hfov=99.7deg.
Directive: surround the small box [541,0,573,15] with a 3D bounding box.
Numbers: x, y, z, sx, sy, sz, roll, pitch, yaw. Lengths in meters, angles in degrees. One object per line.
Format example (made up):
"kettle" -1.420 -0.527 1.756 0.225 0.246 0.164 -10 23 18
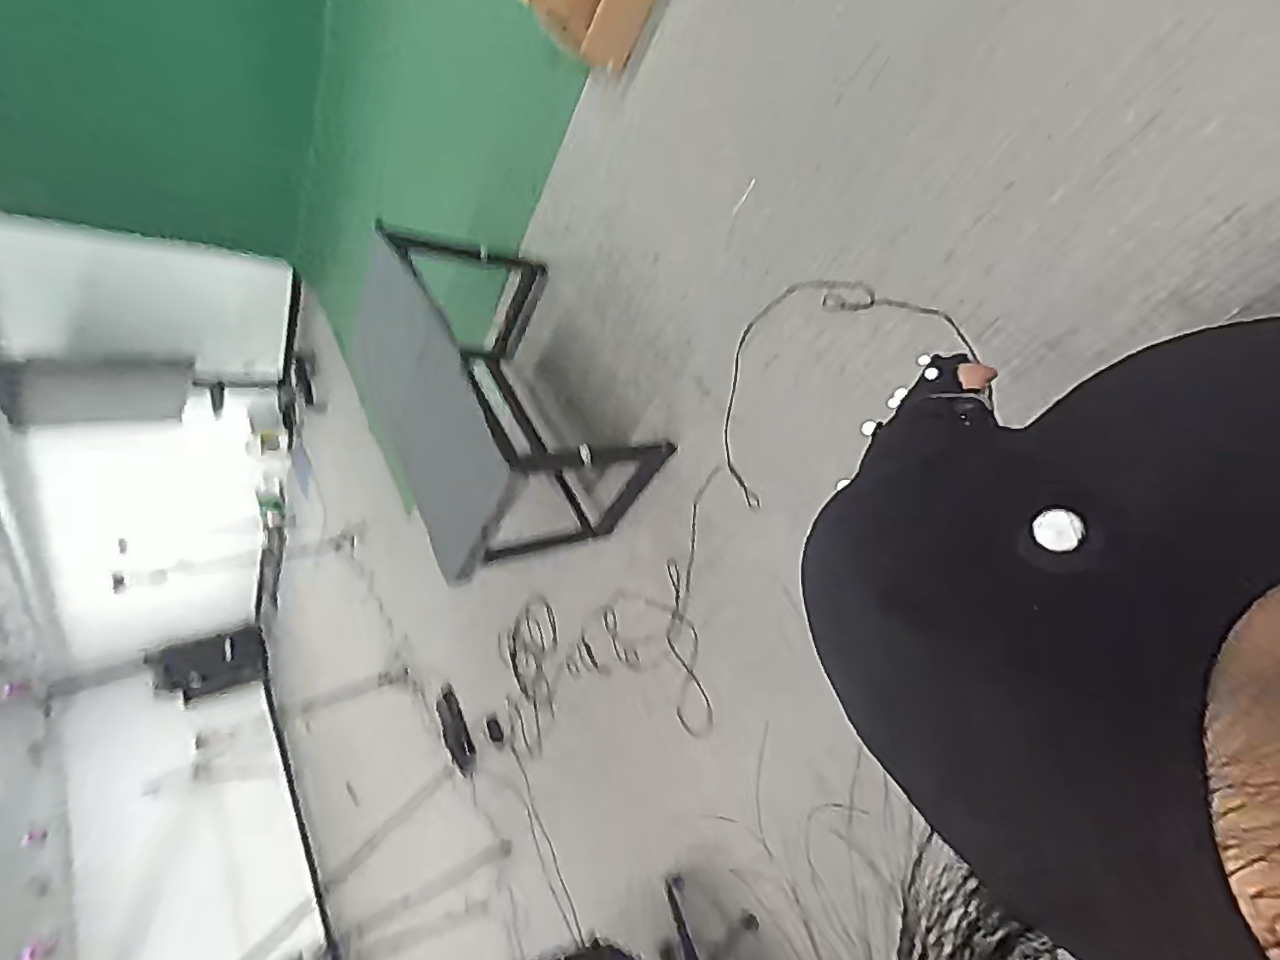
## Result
"small box" -0.303 -1.713 1.791 0.179 0.176 0.168 -49 62 38
